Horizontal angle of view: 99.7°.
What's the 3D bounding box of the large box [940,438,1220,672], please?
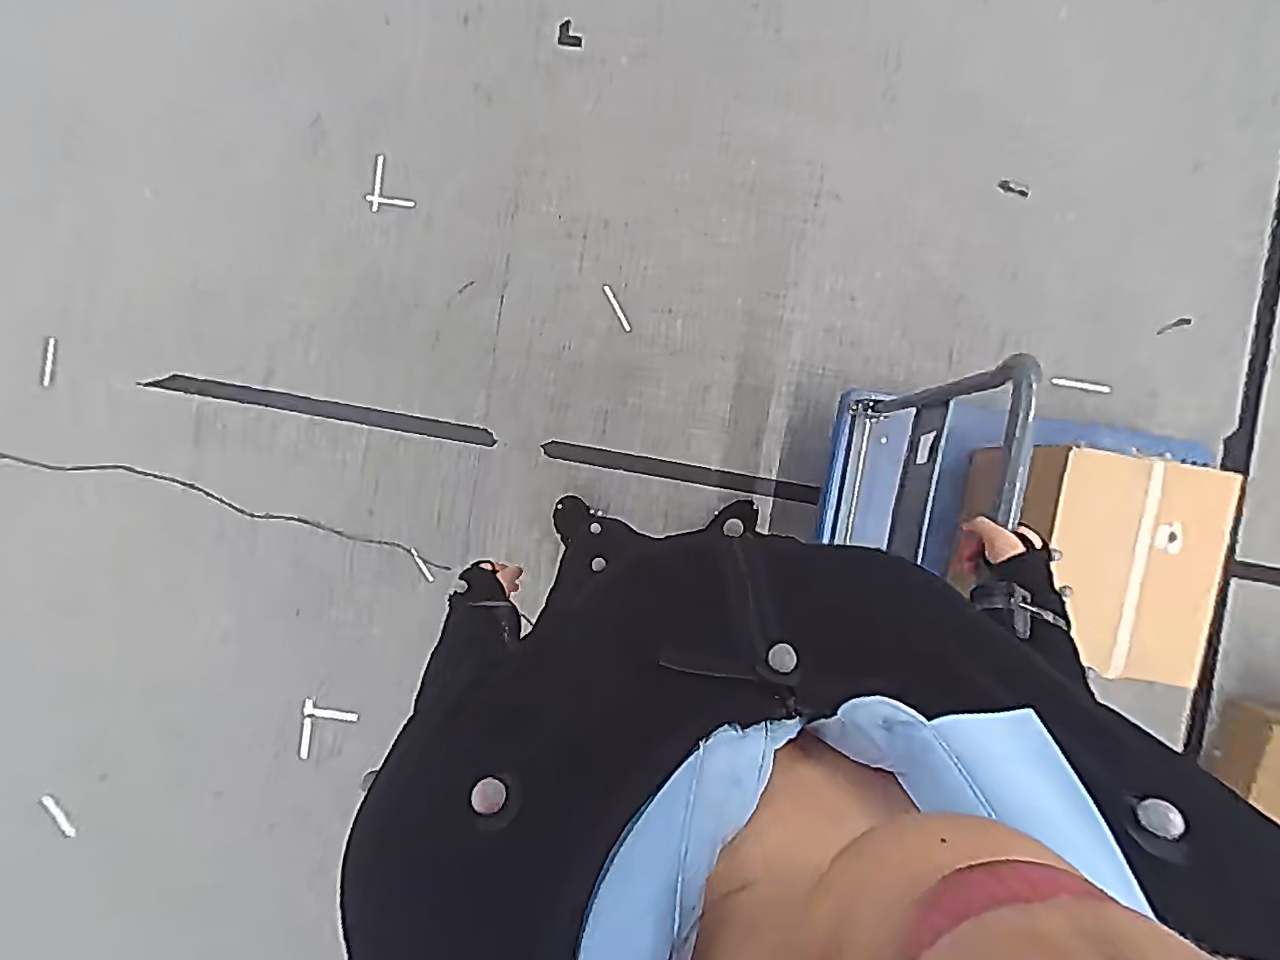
[{"bbox_3d":[0.899,0.142,1.156,0.320,0.320,0.408,10,91,1],"label":"large box"}]
